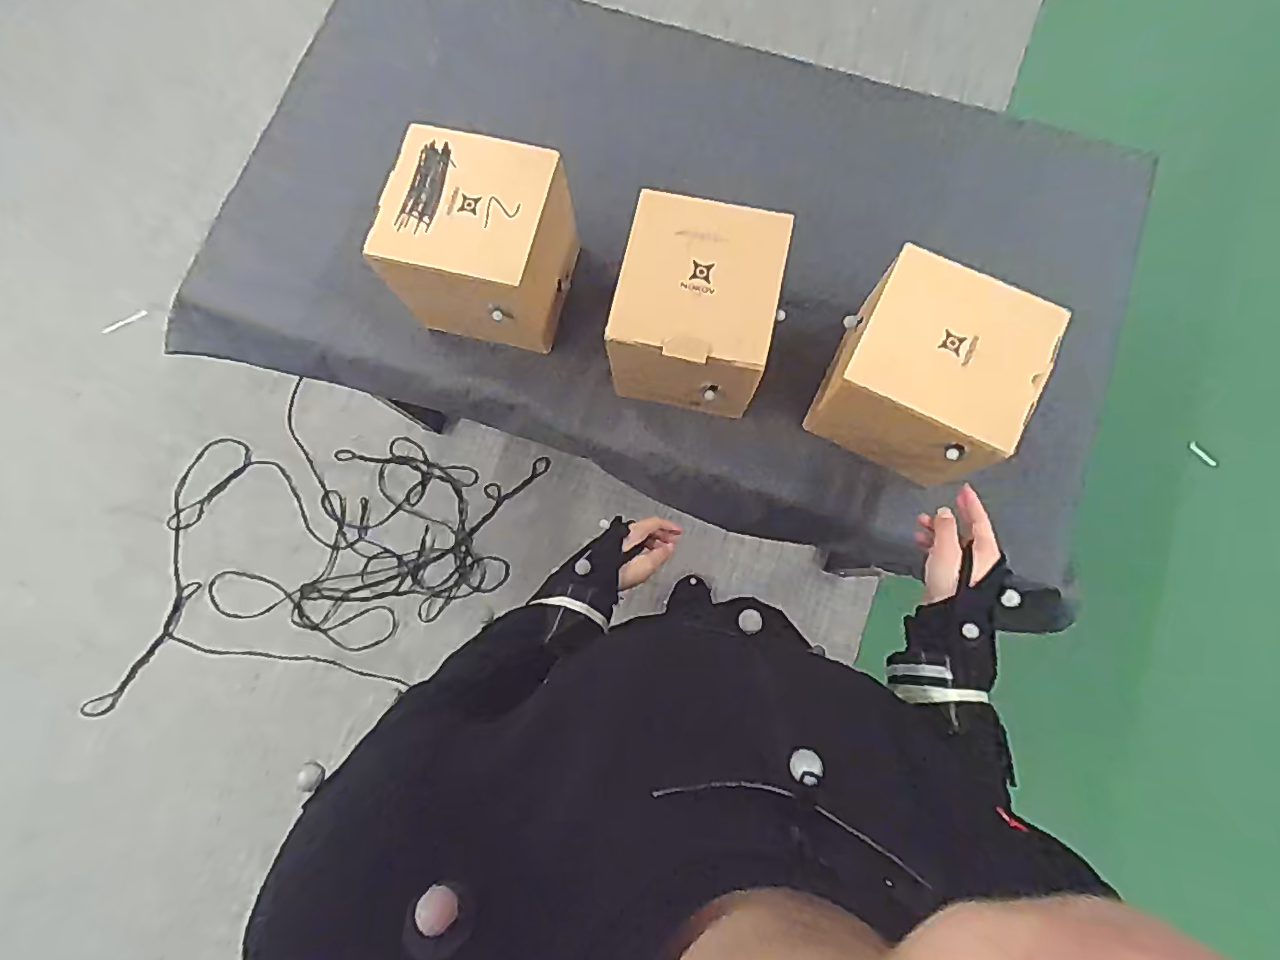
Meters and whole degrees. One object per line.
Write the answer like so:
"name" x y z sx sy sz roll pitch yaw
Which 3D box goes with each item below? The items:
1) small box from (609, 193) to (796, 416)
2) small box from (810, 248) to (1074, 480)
"small box" 0.068 -0.190 0.630 0.168 0.176 0.179 12 78 3
"small box" 0.316 -0.114 0.605 0.179 0.176 0.168 26 81 7
